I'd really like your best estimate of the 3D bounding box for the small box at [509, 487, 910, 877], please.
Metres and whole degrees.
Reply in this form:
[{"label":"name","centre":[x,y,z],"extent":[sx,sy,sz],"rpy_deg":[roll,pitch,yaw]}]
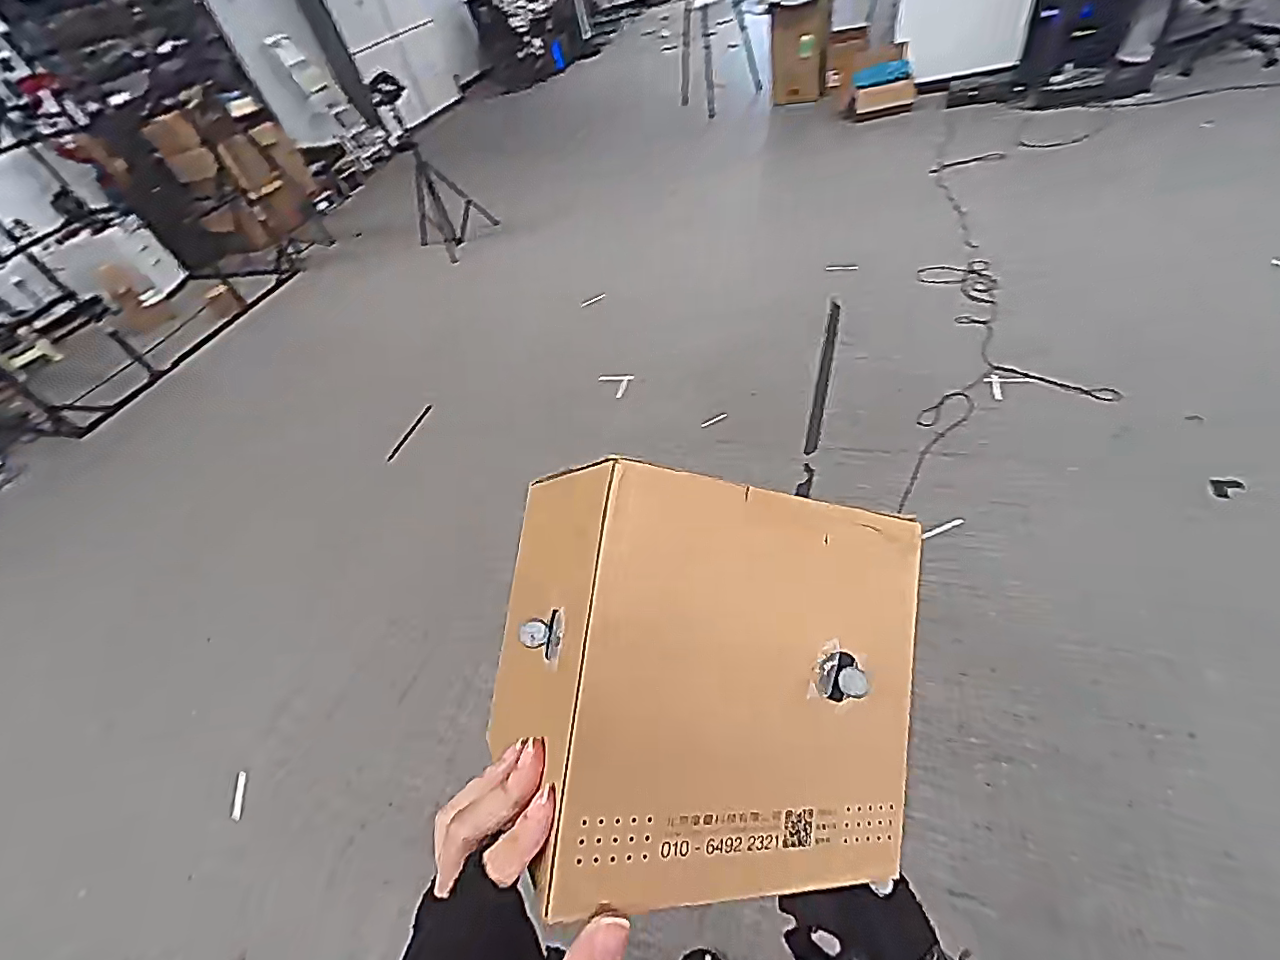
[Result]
[{"label":"small box","centre":[0.026,0.103,0.322],"extent":[0.168,0.179,0.176],"rpy_deg":[12,82,-20]}]
